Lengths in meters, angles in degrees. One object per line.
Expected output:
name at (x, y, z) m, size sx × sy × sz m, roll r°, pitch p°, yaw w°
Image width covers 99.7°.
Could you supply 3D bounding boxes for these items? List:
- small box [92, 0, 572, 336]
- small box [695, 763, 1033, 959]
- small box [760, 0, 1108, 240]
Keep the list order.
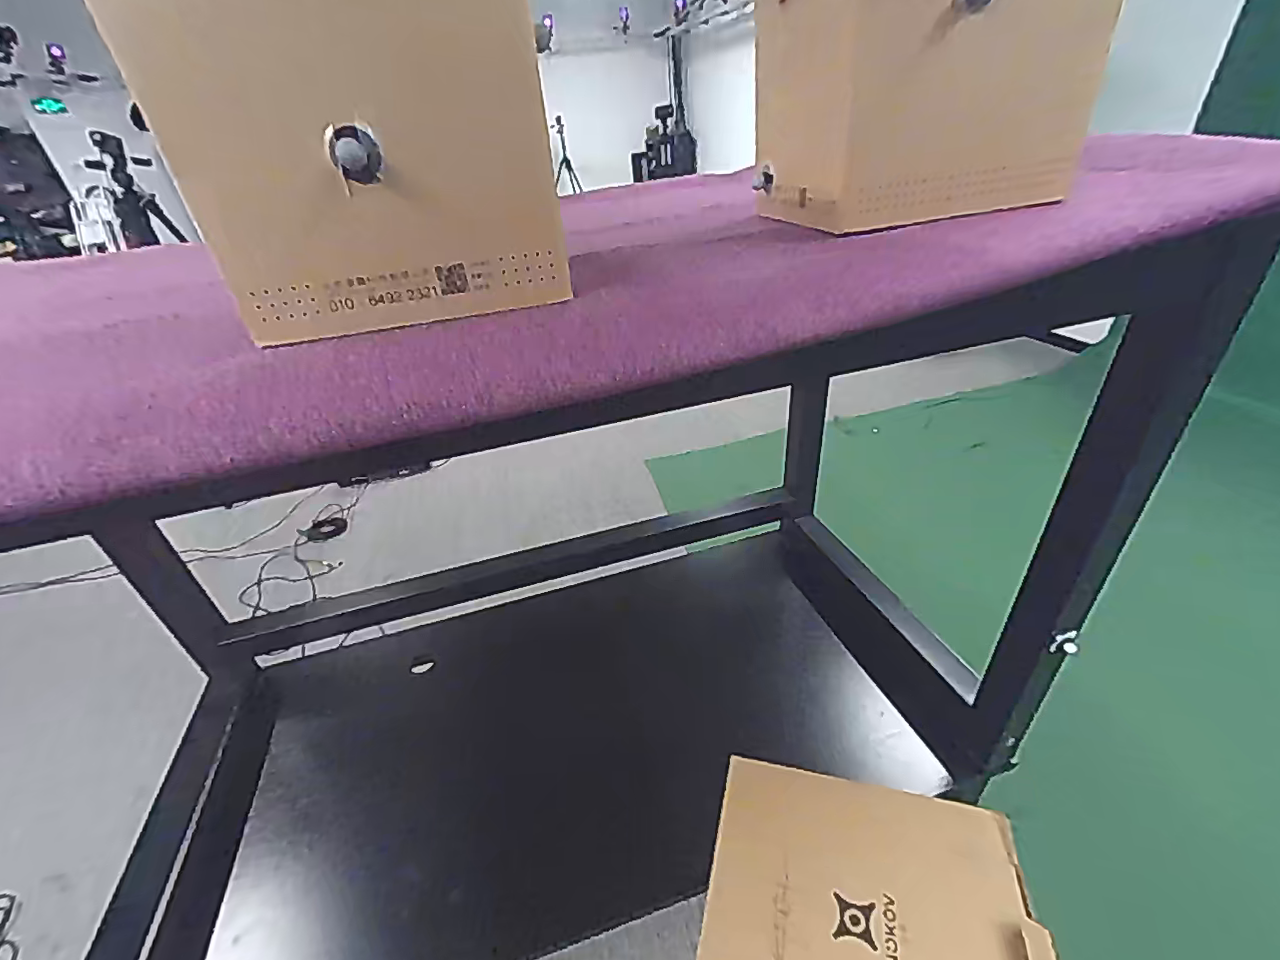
small box at (-0.139, -0.190, 0.314) m, size 0.168 × 0.176 × 0.179 m, roll -11°, pitch 34°, yaw -9°
small box at (0.134, 0.322, 0.346) m, size 0.179 × 0.176 × 0.168 m, roll 2°, pitch 31°, yaw 19°
small box at (0.200, -0.285, 0.403) m, size 0.179 × 0.176 × 0.168 m, roll -10°, pitch 32°, yaw -6°
